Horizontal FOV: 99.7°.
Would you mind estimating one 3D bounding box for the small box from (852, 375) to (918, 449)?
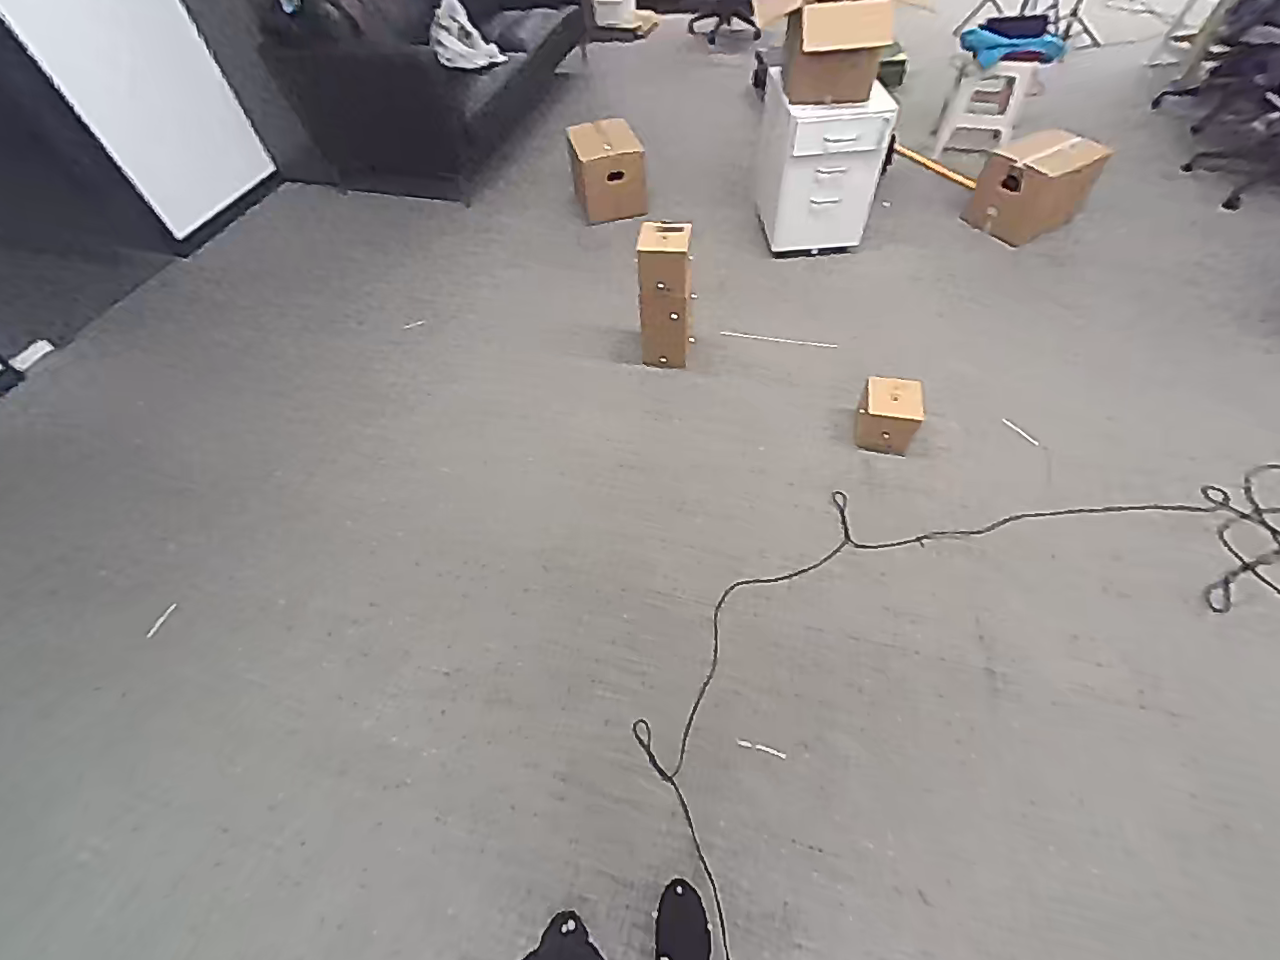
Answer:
[{"bbox_3d":[0.818,-0.225,1.816,0.168,0.176,0.179,9,55,10],"label":"small box"}]

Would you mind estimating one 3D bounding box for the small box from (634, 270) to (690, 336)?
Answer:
[{"bbox_3d":[0.086,-0.648,1.987,0.179,0.176,0.168,6,53,10],"label":"small box"}]

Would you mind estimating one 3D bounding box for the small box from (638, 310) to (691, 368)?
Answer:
[{"bbox_3d":[0.098,-0.560,2.125,0.179,0.176,0.168,9,55,10],"label":"small box"}]
